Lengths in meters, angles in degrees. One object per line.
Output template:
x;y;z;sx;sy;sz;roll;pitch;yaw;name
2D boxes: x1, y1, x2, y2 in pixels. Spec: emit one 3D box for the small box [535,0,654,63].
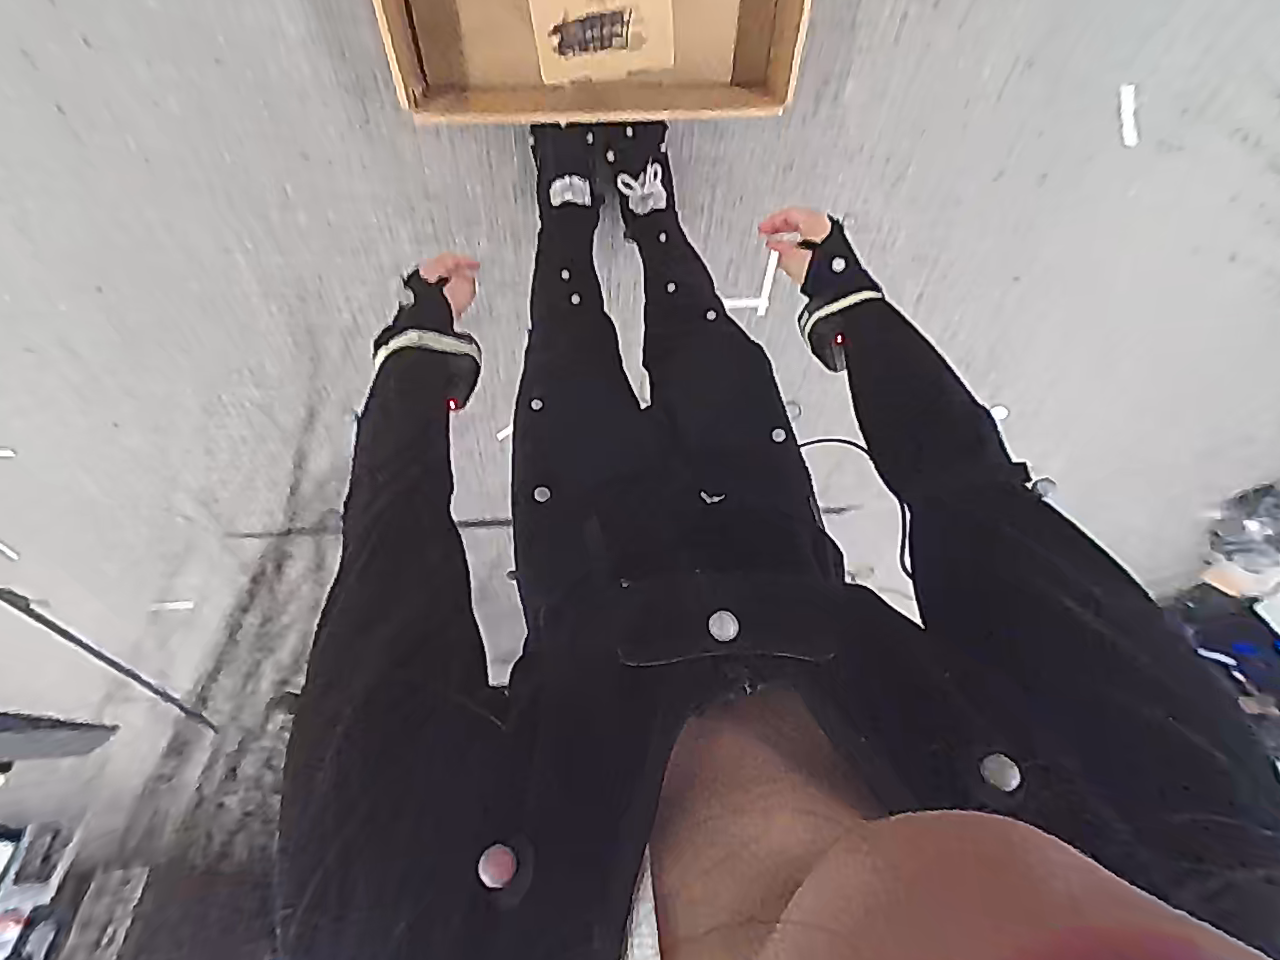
-0.075;-0.736;0.782;0.168;0.176;0.179;-8;139;-1;small box
